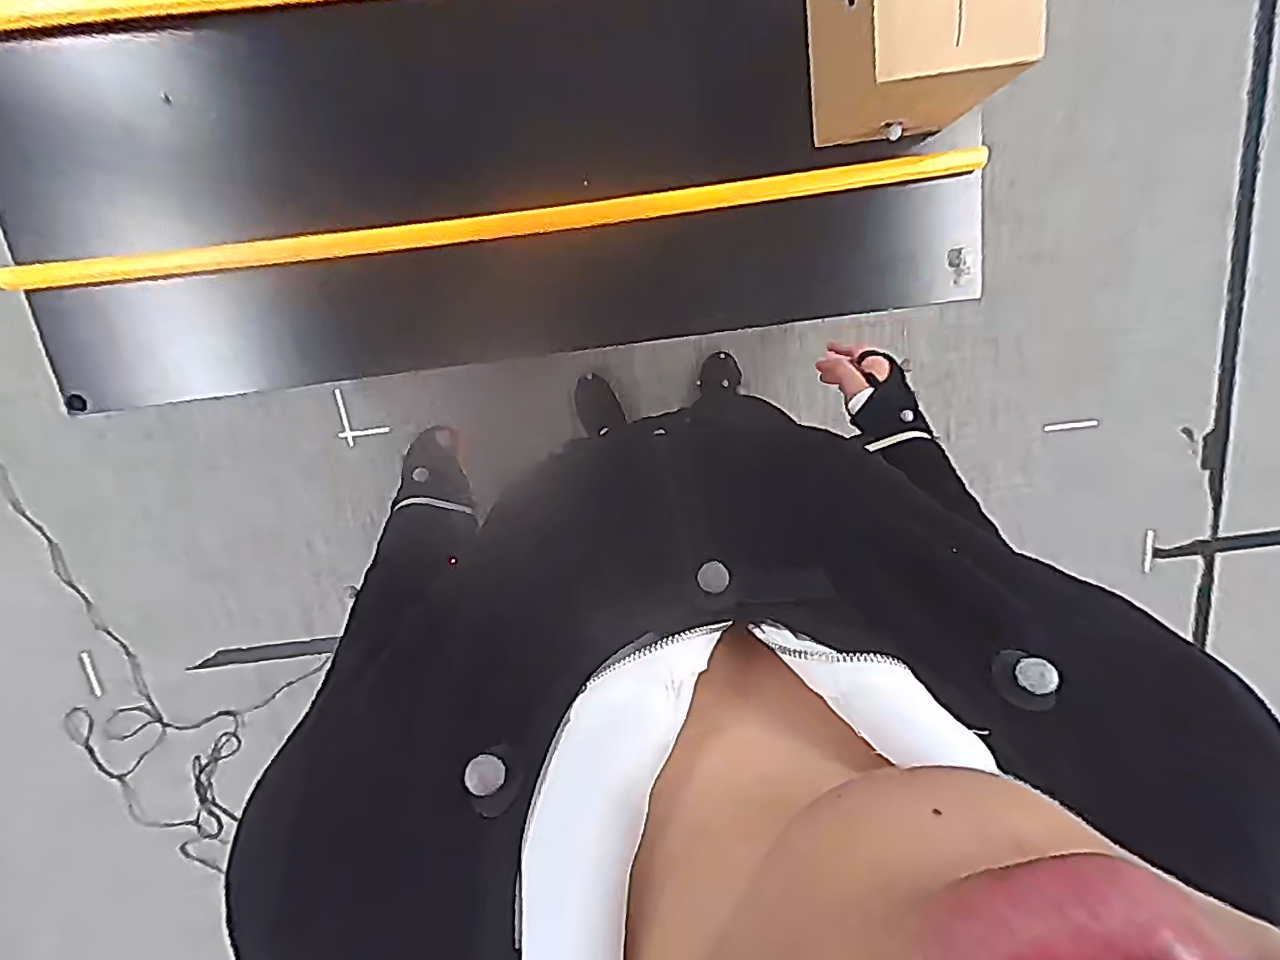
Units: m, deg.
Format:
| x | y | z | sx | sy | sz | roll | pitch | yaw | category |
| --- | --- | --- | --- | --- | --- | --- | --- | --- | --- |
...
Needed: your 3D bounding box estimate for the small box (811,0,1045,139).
| x | y | z | sx | sy | sz | roll | pitch | yaw | category |
| --- | --- | --- | --- | --- | --- | --- | --- | --- | --- |
| 0.292 | -0.501 | 0.579 | 0.168 | 0.176 | 0.179 | -8 | 103 | 0 | small box |
